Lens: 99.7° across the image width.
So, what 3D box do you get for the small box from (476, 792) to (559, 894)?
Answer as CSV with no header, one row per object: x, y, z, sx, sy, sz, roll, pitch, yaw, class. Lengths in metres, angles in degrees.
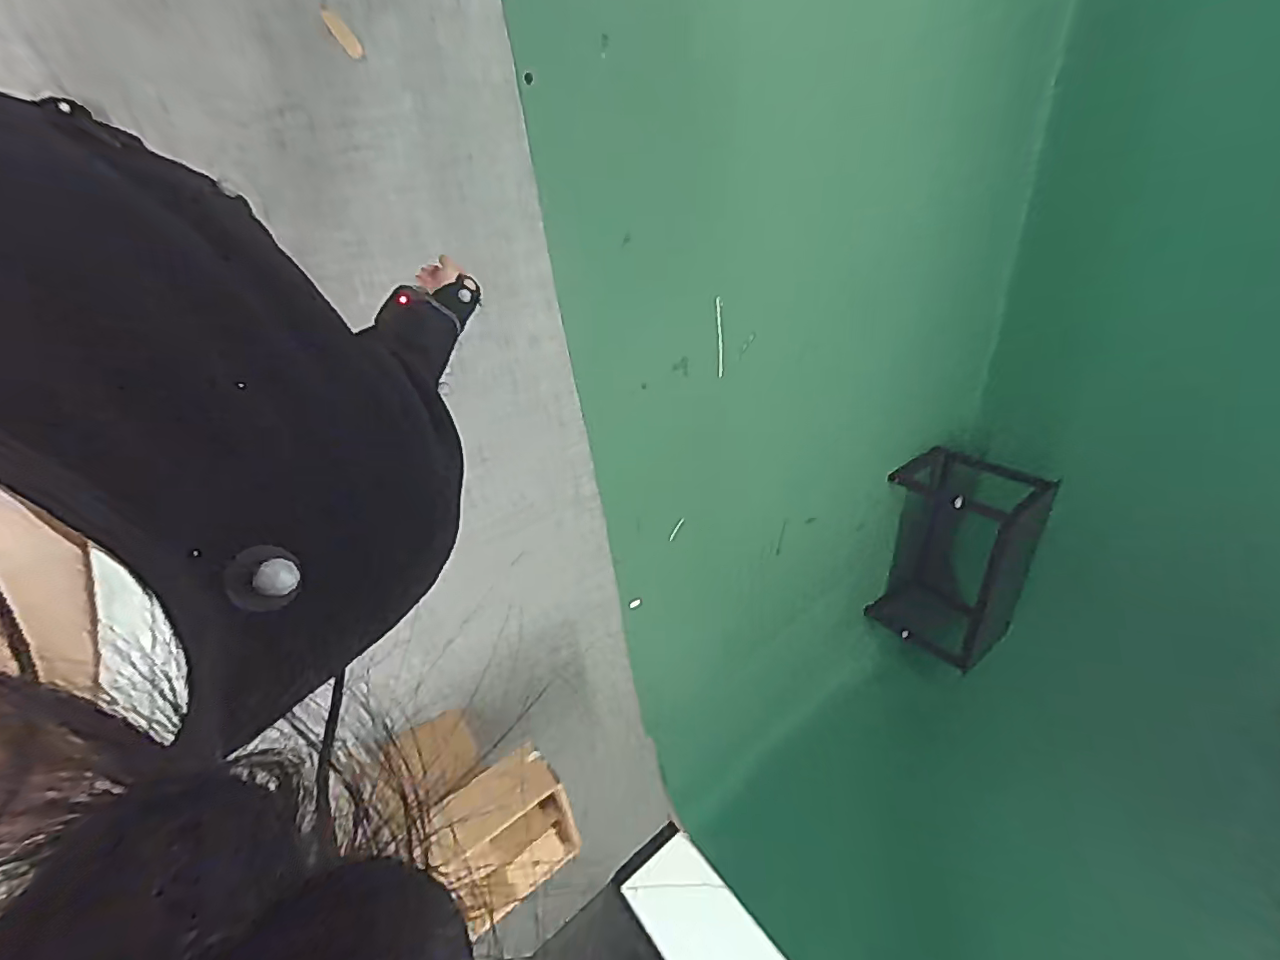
-0.378,1.111,1.667,0.168,0.176,0.179,-32,129,-28,small box
